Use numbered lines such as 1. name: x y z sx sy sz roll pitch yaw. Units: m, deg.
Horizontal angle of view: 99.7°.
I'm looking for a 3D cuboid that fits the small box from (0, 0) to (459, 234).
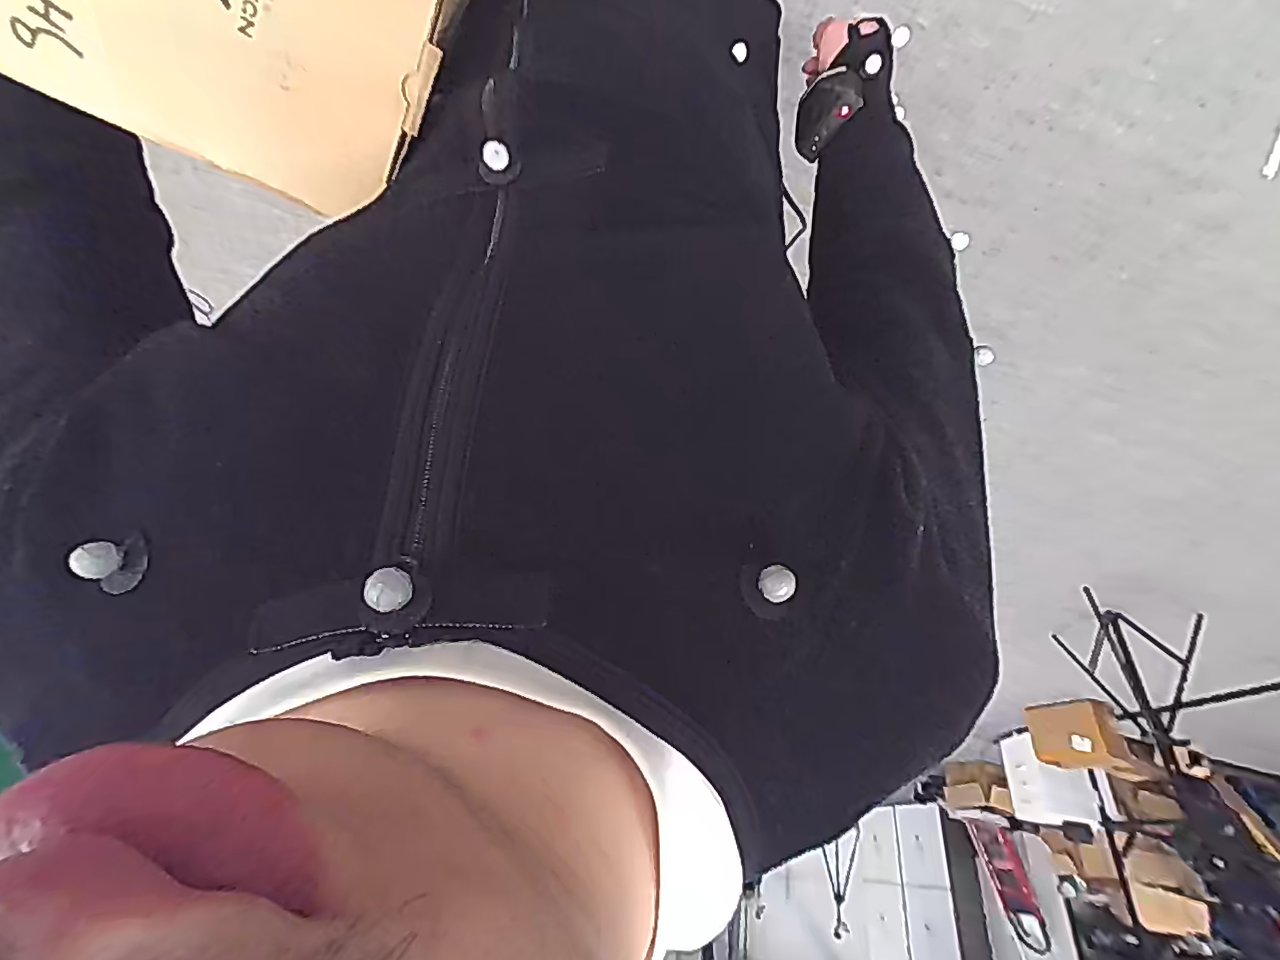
1. small box: -0.217 -0.279 0.327 0.179 0.176 0.168 17 114 -27
